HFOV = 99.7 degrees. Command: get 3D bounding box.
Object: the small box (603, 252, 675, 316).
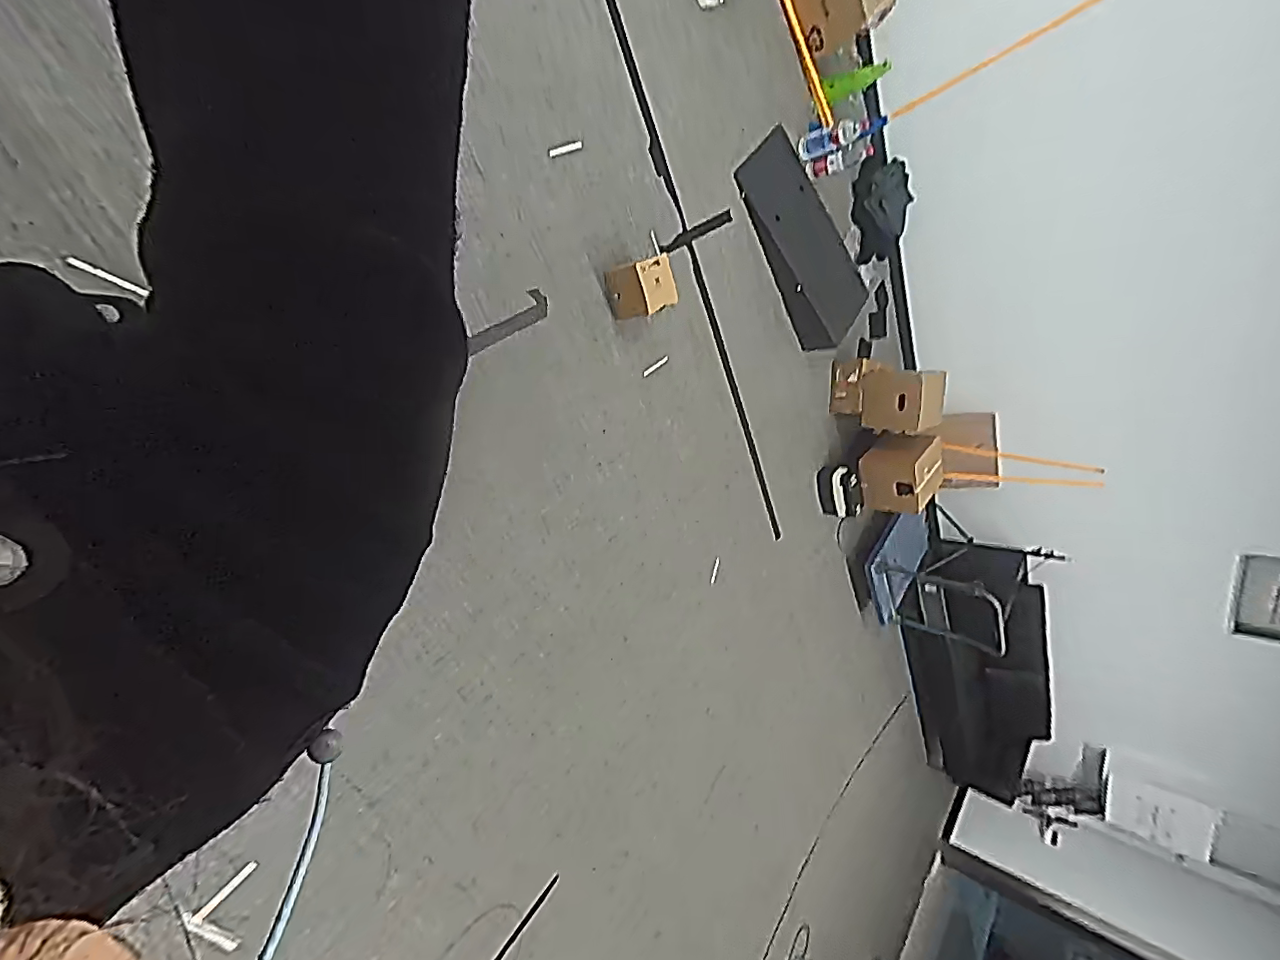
[{"bbox_3d":[-0.003,-0.700,1.944,0.168,0.176,0.179,-36,120,-36],"label":"small box"}]
